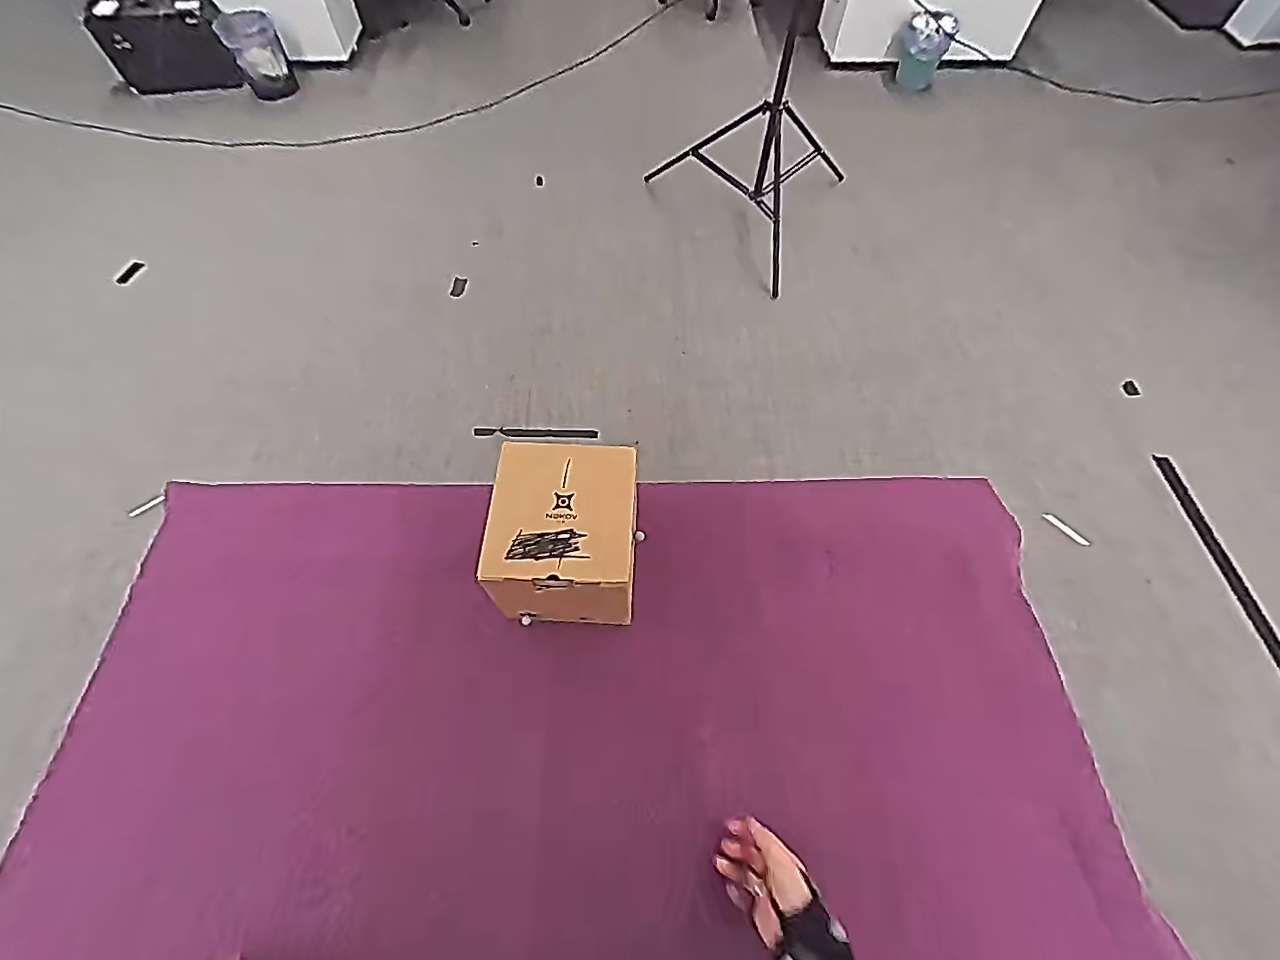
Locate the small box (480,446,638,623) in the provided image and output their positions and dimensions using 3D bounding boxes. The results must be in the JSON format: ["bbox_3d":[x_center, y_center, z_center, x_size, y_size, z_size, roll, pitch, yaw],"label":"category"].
[{"bbox_3d":[-0.089,0.077,0.689,0.168,0.176,0.179,3,60,0],"label":"small box"}]
